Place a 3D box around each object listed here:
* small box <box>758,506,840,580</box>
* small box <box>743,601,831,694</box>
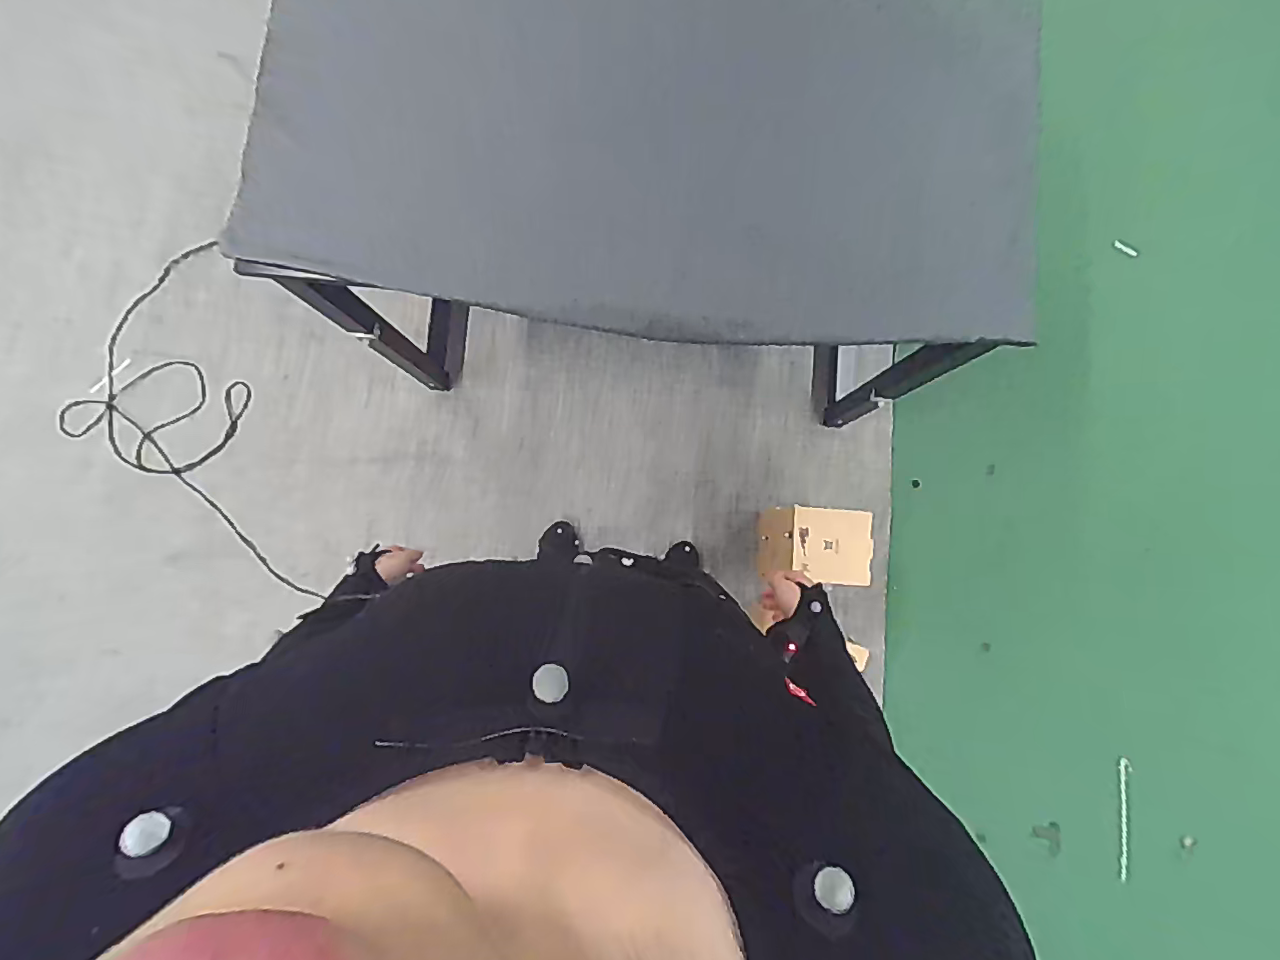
[{"bbox_3d":[0.412,0.162,1.419,0.168,0.176,0.179,3,84,-1],"label":"small box"},{"bbox_3d":[0.370,0.423,1.394,0.168,0.176,0.179,13,85,1],"label":"small box"}]
